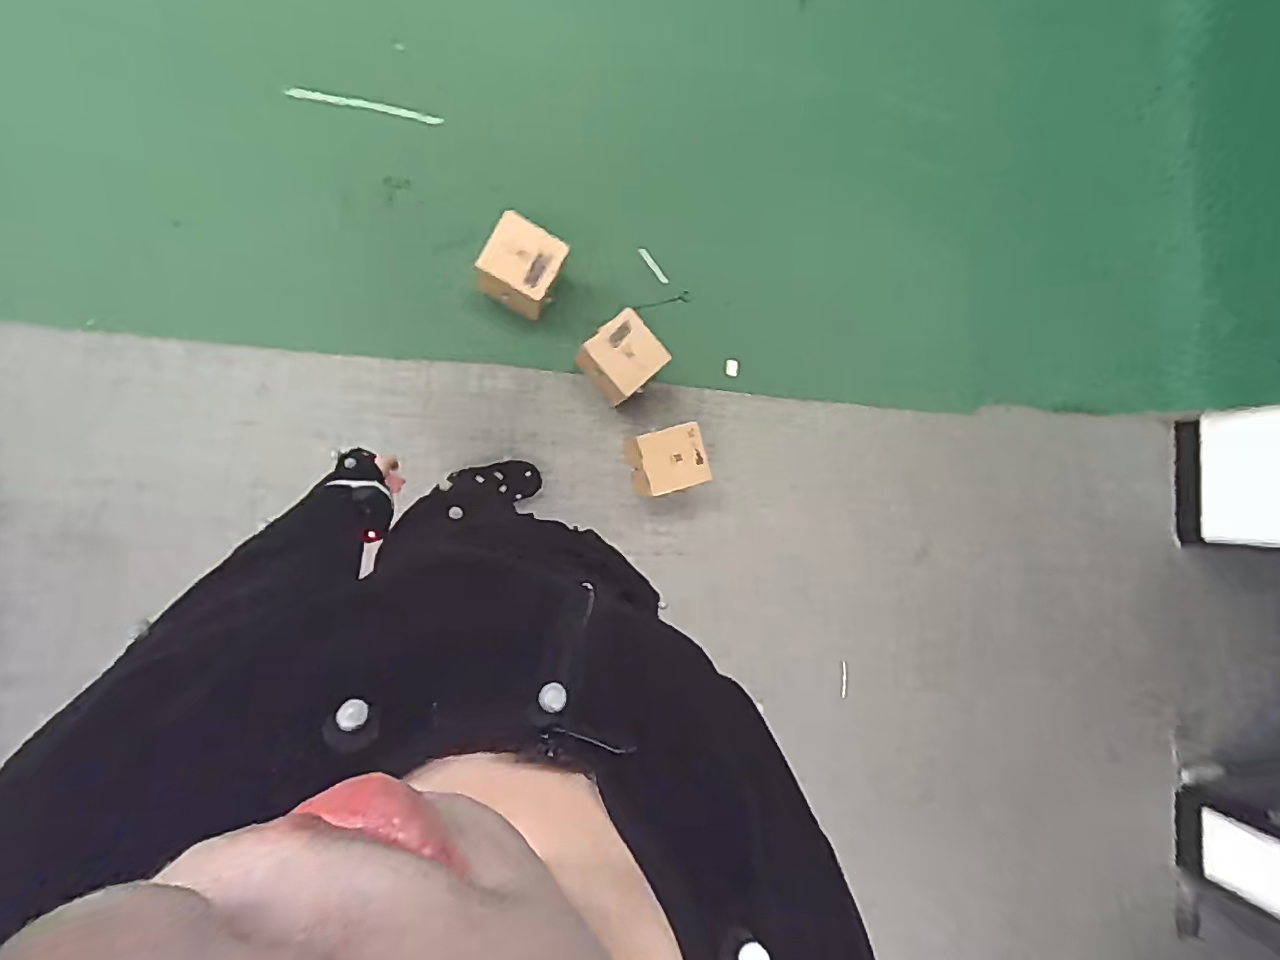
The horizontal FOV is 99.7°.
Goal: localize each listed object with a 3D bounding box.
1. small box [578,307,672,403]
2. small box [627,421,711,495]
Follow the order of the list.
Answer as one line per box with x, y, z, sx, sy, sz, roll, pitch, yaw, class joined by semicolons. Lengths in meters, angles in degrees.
-0.049;-0.329;1.468;0.168;0.176;0.179;-43;99;-11;small box
0.072;-0.056;1.493;0.179;0.176;0.168;-15;92;-13;small box
